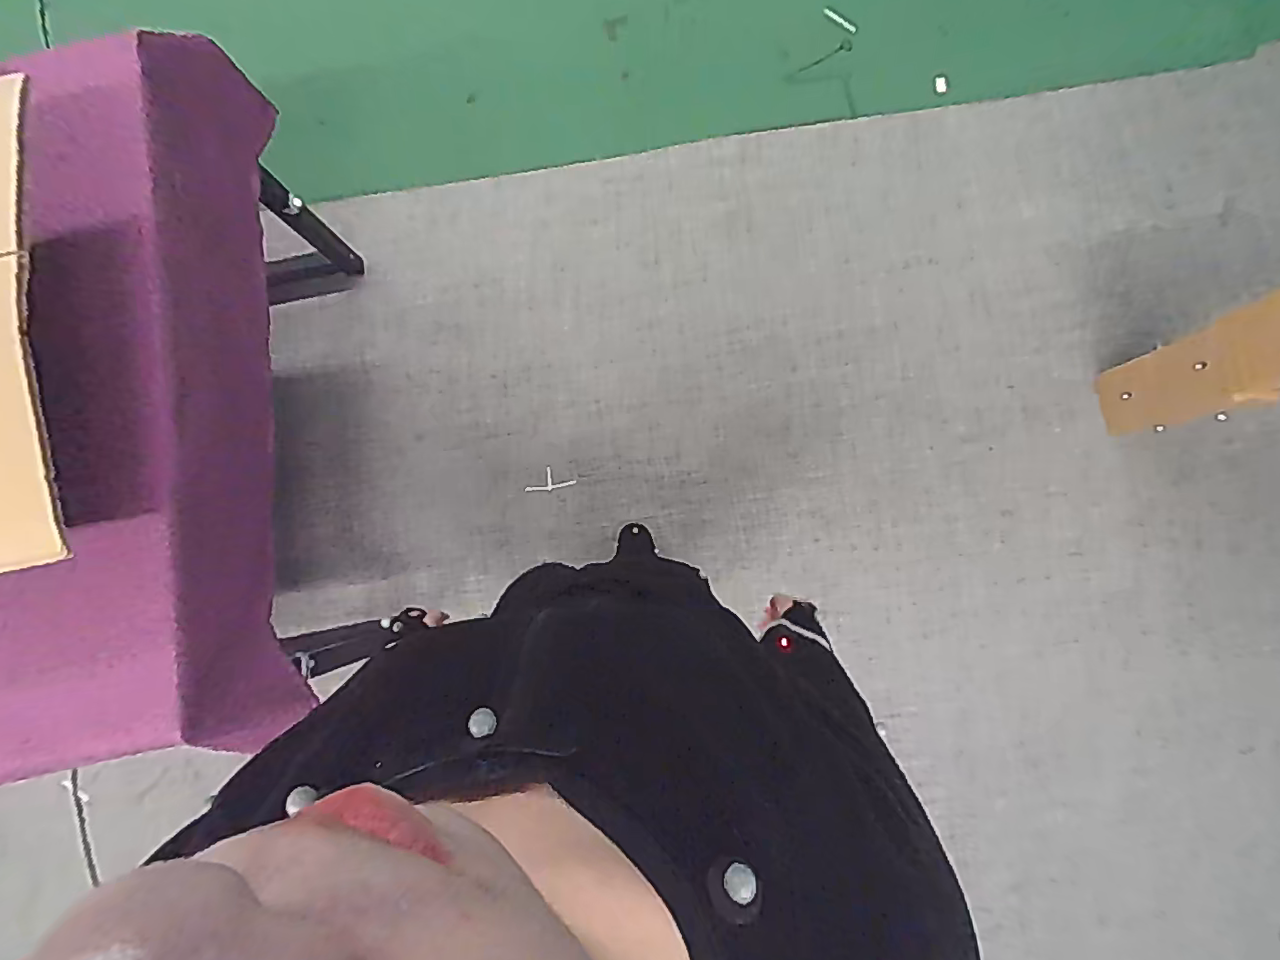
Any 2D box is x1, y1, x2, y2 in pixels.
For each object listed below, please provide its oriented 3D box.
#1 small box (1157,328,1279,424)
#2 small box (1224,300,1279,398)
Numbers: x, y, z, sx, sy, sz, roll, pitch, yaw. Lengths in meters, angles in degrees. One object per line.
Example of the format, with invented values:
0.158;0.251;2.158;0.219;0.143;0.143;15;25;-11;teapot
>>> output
1.344;-0.237;1.236;0.168;0.176;0.179;-4;82;4;small box
1.333;-0.272;1.077;0.168;0.176;0.179;-1;83;3;small box
